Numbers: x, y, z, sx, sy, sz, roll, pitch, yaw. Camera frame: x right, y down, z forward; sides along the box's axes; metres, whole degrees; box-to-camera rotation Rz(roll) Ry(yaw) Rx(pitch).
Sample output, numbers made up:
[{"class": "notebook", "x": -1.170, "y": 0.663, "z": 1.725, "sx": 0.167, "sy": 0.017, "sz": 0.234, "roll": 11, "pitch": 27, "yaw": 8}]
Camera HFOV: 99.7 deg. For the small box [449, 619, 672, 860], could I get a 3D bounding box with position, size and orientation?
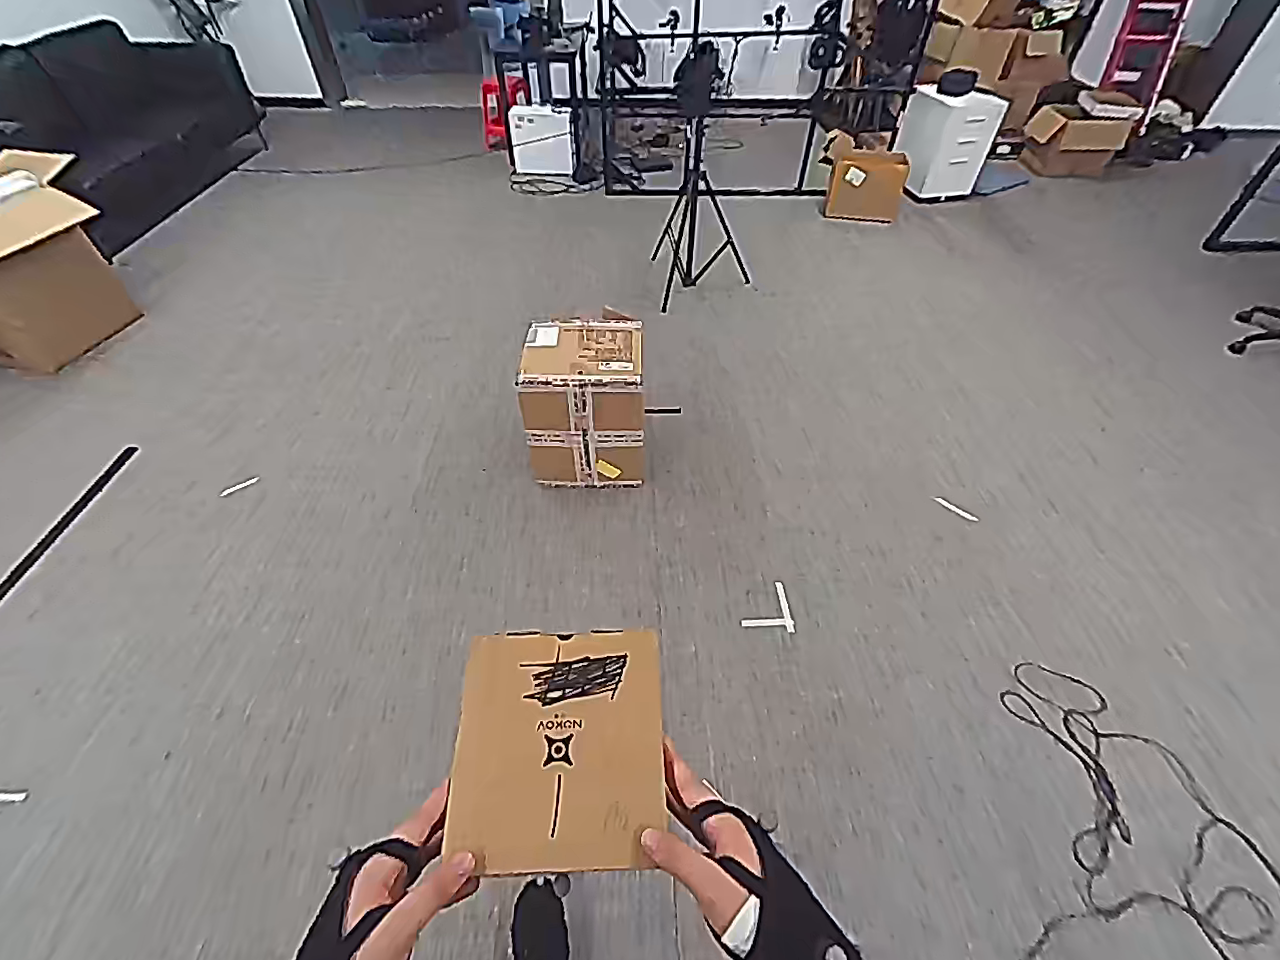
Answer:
[{"class": "small box", "x": -0.062, "y": 0.245, "z": 0.506, "sx": 0.168, "sy": 0.176, "sz": 0.179, "roll": -2, "pitch": 55, "yaw": -2}]
